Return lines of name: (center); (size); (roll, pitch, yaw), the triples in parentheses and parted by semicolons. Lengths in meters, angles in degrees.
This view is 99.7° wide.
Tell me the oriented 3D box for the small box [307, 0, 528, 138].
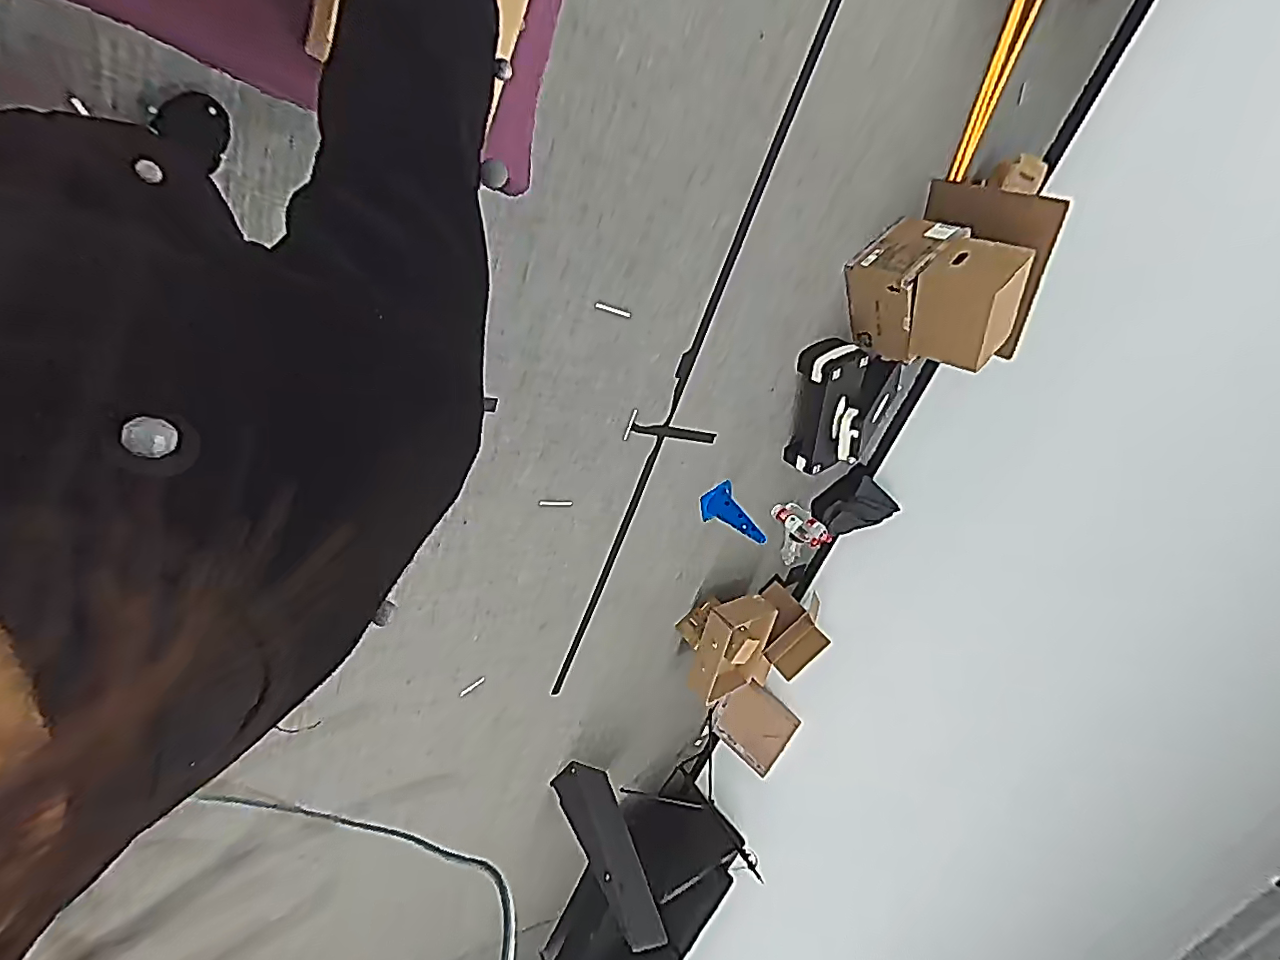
small box: (-0.246, -0.512, 0.591); (0.168, 0.176, 0.179); (9, 114, -42)
